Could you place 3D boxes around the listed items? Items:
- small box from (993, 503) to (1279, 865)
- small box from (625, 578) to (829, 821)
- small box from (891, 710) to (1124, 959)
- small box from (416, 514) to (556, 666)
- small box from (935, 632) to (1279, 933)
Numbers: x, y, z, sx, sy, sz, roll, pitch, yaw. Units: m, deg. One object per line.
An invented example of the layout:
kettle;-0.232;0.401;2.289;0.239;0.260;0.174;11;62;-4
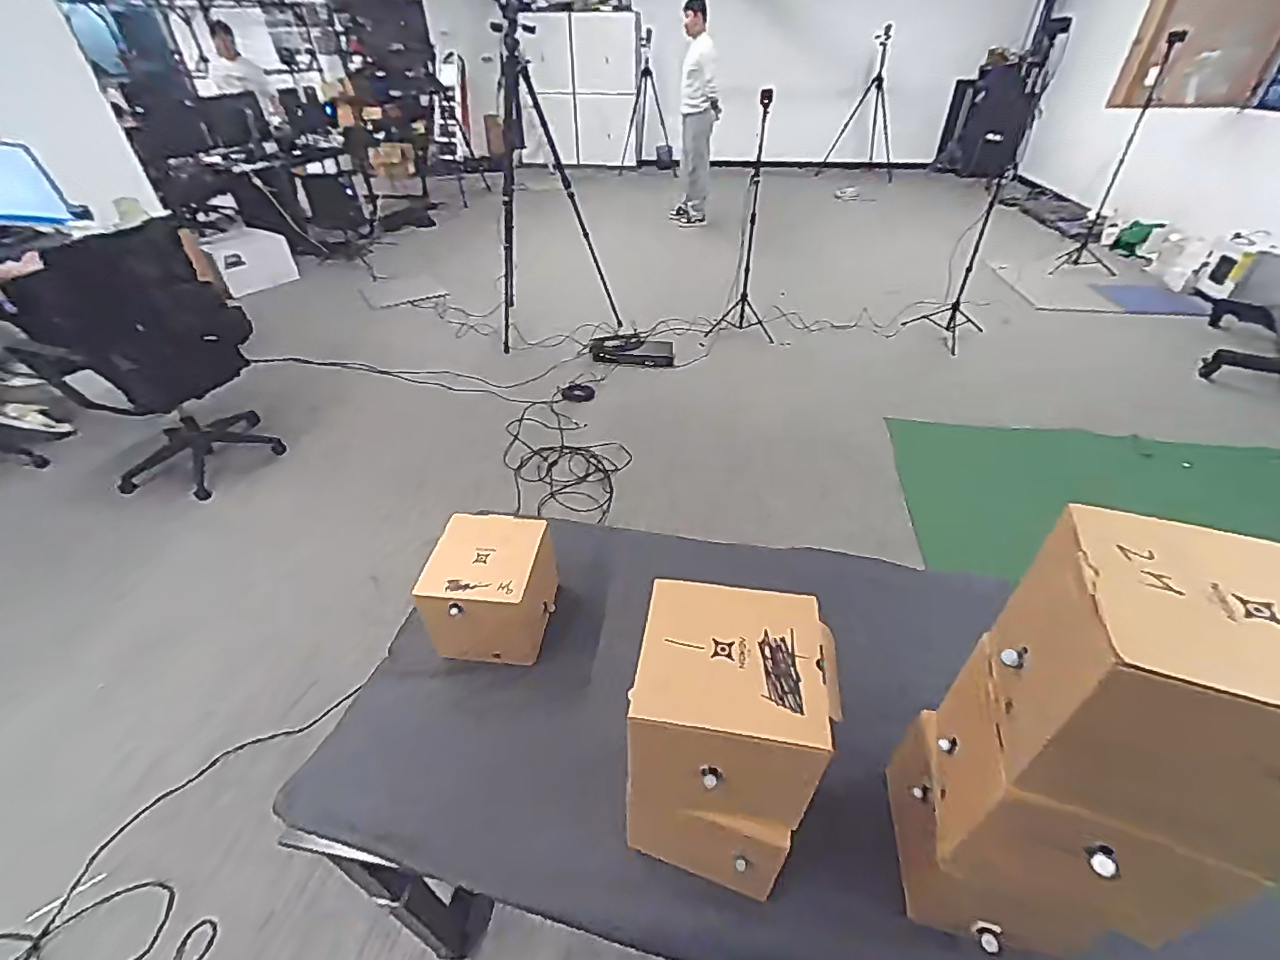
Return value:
small box;0.397;0.147;0.404;0.179;0.176;0.168;13;39;20
small box;0.087;0.229;0.568;0.179;0.176;0.168;6;38;9
small box;0.401;0.398;0.615;0.168;0.176;0.179;5;39;10
small box;-0.241;0.180;0.900;0.168;0.176;0.179;4;40;5
small box;0.396;0.279;0.504;0.179;0.176;0.168;12;39;18
